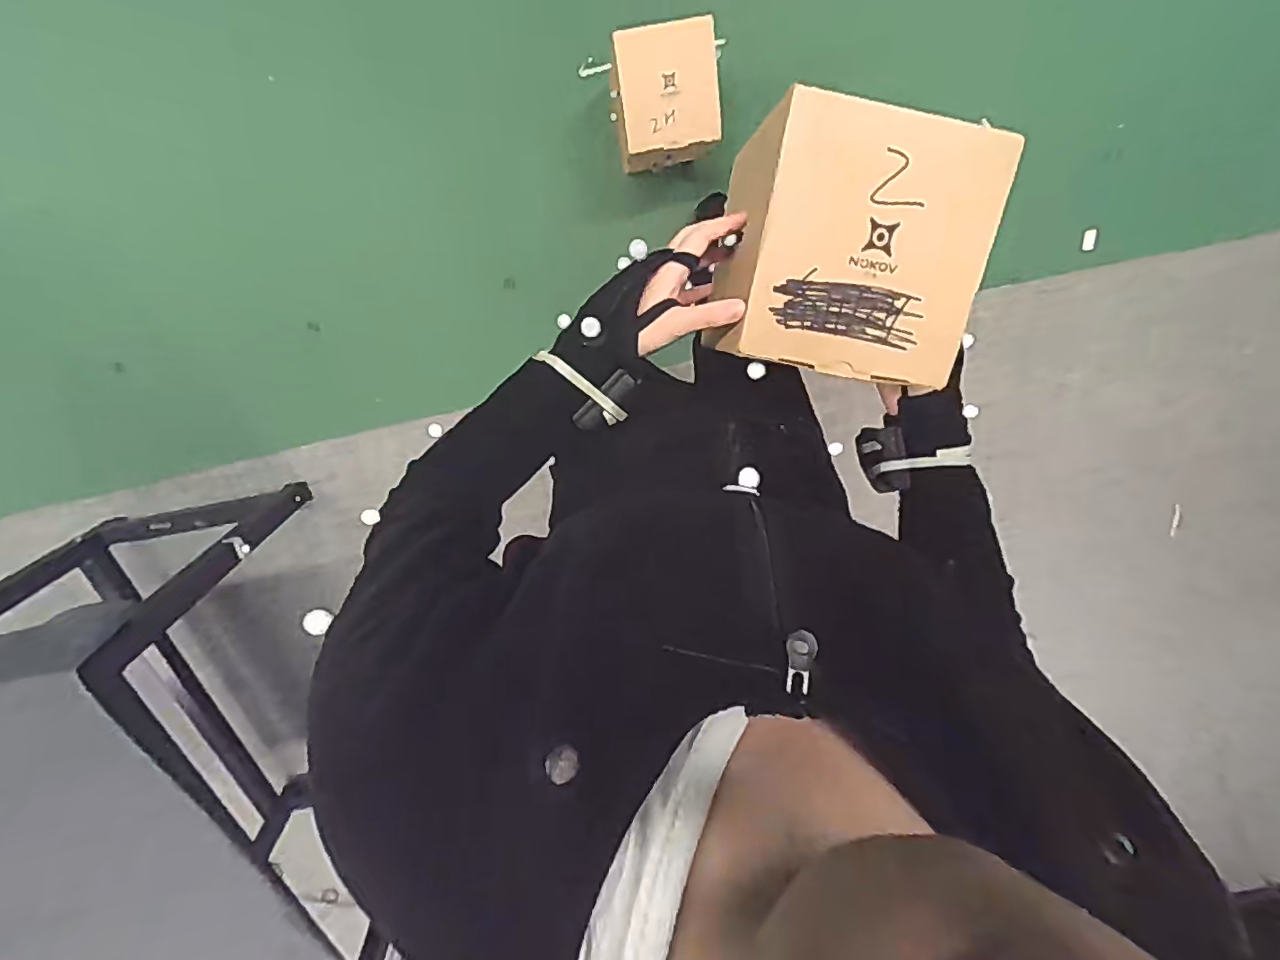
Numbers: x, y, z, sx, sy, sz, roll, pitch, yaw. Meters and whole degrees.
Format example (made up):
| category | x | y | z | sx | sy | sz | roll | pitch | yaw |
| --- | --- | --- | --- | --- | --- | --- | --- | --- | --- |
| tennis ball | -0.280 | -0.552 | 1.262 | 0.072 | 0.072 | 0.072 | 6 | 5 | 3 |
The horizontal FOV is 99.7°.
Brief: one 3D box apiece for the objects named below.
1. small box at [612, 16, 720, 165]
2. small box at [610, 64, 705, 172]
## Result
| category | x | y | z | sx | sy | sz | roll | pitch | yaw |
| --- | --- | --- | --- | --- | --- | --- | --- | --- | --- |
| small box | 0.043 | -0.689 | 0.977 | 0.168 | 0.176 | 0.179 | -9 | 114 | 1 |
| small box | 0.036 | -0.757 | 1.128 | 0.168 | 0.176 | 0.179 | -11 | 114 | 1 |
